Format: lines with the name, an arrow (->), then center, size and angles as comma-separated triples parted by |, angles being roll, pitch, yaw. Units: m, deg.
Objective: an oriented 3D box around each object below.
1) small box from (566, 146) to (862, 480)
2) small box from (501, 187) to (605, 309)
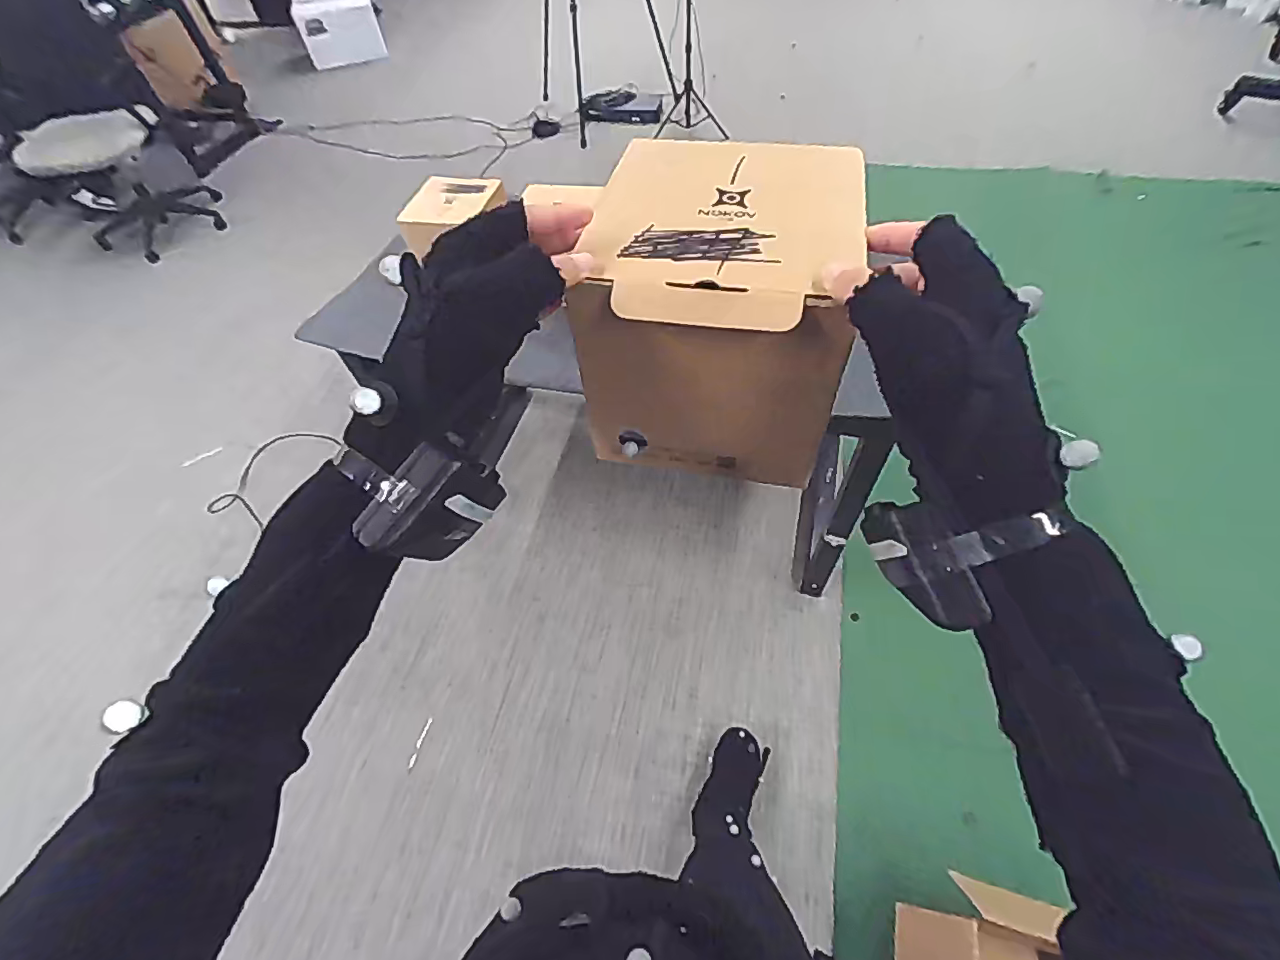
small box -> 0.059, -0.121, 0.406 | 0.168, 0.176, 0.179 | 9, 54, 10
small box -> -0.164, -0.478, 1.120 | 0.168, 0.176, 0.179 | 7, 55, 10
